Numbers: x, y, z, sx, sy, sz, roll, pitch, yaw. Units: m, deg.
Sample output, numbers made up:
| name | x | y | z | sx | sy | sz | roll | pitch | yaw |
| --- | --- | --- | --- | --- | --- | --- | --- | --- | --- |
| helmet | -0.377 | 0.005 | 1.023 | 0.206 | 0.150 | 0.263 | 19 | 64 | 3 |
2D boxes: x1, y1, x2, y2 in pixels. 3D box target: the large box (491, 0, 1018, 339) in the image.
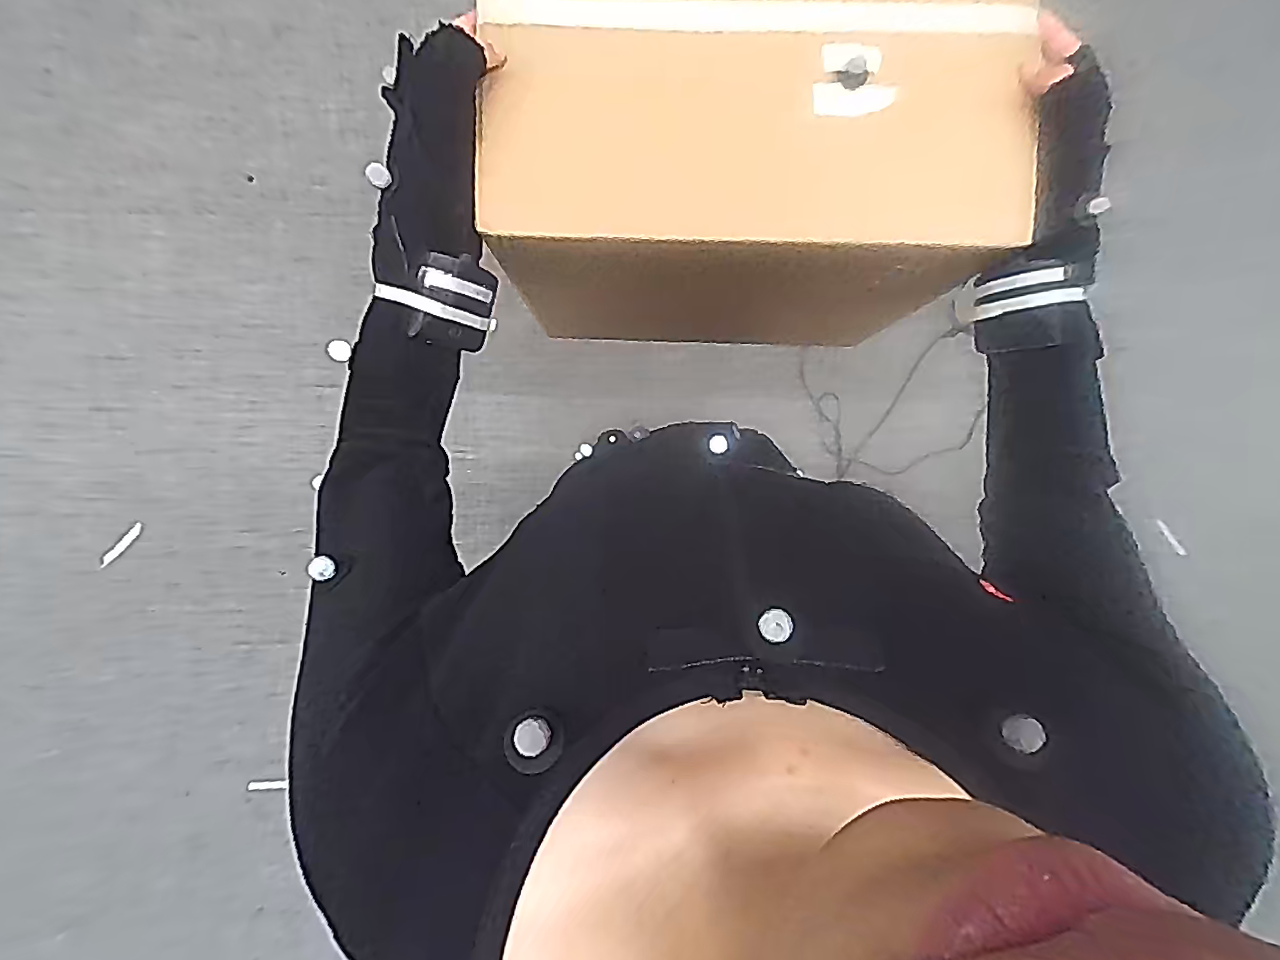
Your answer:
| name | x | y | z | sx | sy | sz | roll | pitch | yaw |
| --- | --- | --- | --- | --- | --- | --- | --- | --- | --- |
| large box | 0.083 | -0.337 | 0.556 | 0.408 | 0.320 | 0.320 | 1 | 91 | -1 |

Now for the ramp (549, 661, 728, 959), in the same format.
| name | x | y | z | sx | sy | sz | roll | pitch | yaw |
| --- | --- | --- | --- | --- | --- | --- | --- | --- | --- |
| ramp | -0.007 | 1.015 | 1.493 | 0.509 | 0.206 | 0.991 | -2 | 95 | 0 |
